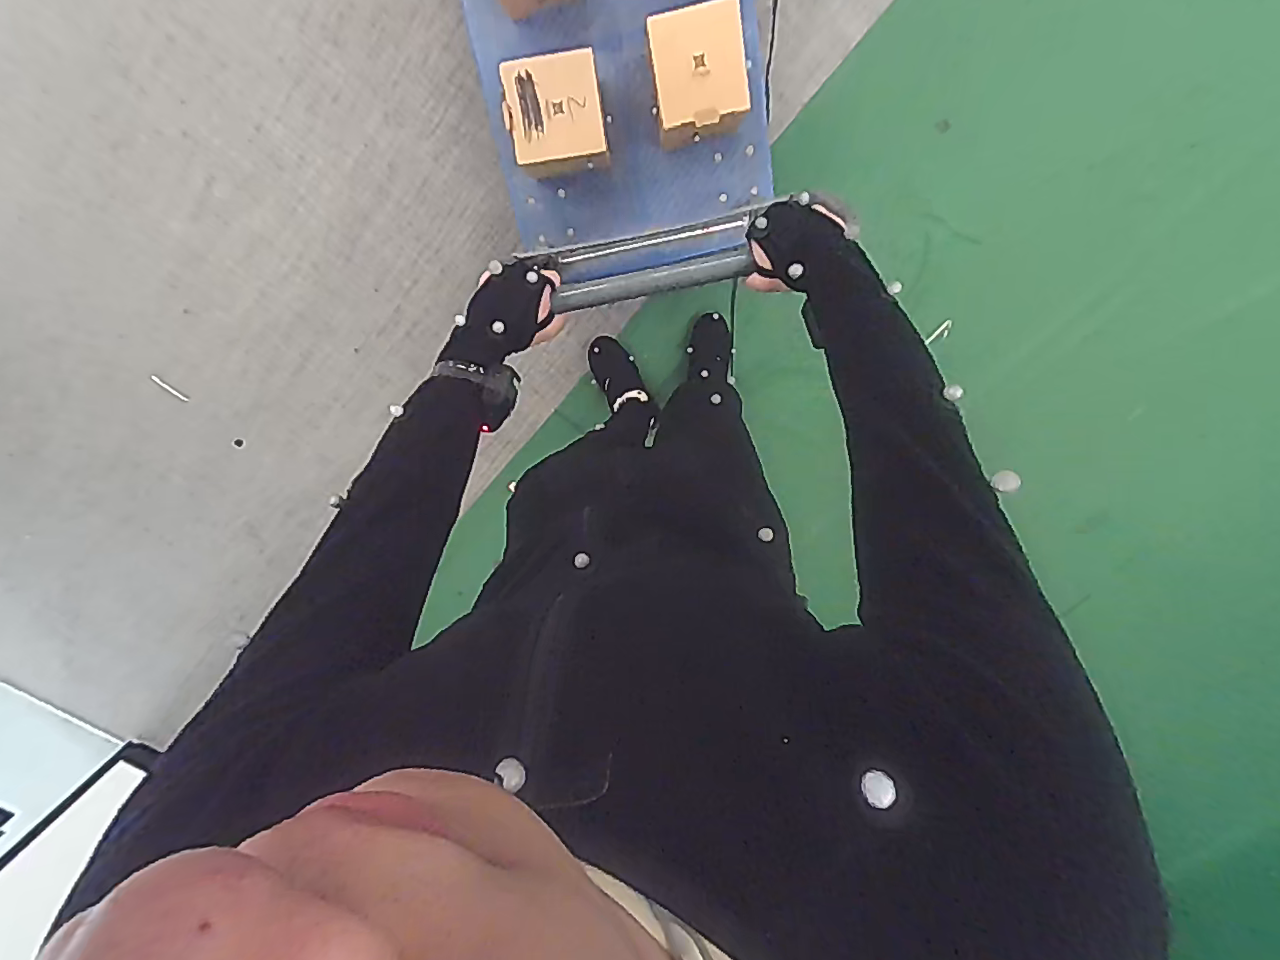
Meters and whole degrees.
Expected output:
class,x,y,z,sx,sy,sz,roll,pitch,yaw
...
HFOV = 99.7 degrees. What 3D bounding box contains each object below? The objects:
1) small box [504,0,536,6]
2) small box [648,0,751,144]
class,x,y,z,sx,sy,sz,roll,pitch,yaw
small box,-0.206,-0.990,0.960,0.168,0.176,0.179,-15,111,6
small box,0.109,-0.780,1.044,0.168,0.176,0.179,-10,112,5
